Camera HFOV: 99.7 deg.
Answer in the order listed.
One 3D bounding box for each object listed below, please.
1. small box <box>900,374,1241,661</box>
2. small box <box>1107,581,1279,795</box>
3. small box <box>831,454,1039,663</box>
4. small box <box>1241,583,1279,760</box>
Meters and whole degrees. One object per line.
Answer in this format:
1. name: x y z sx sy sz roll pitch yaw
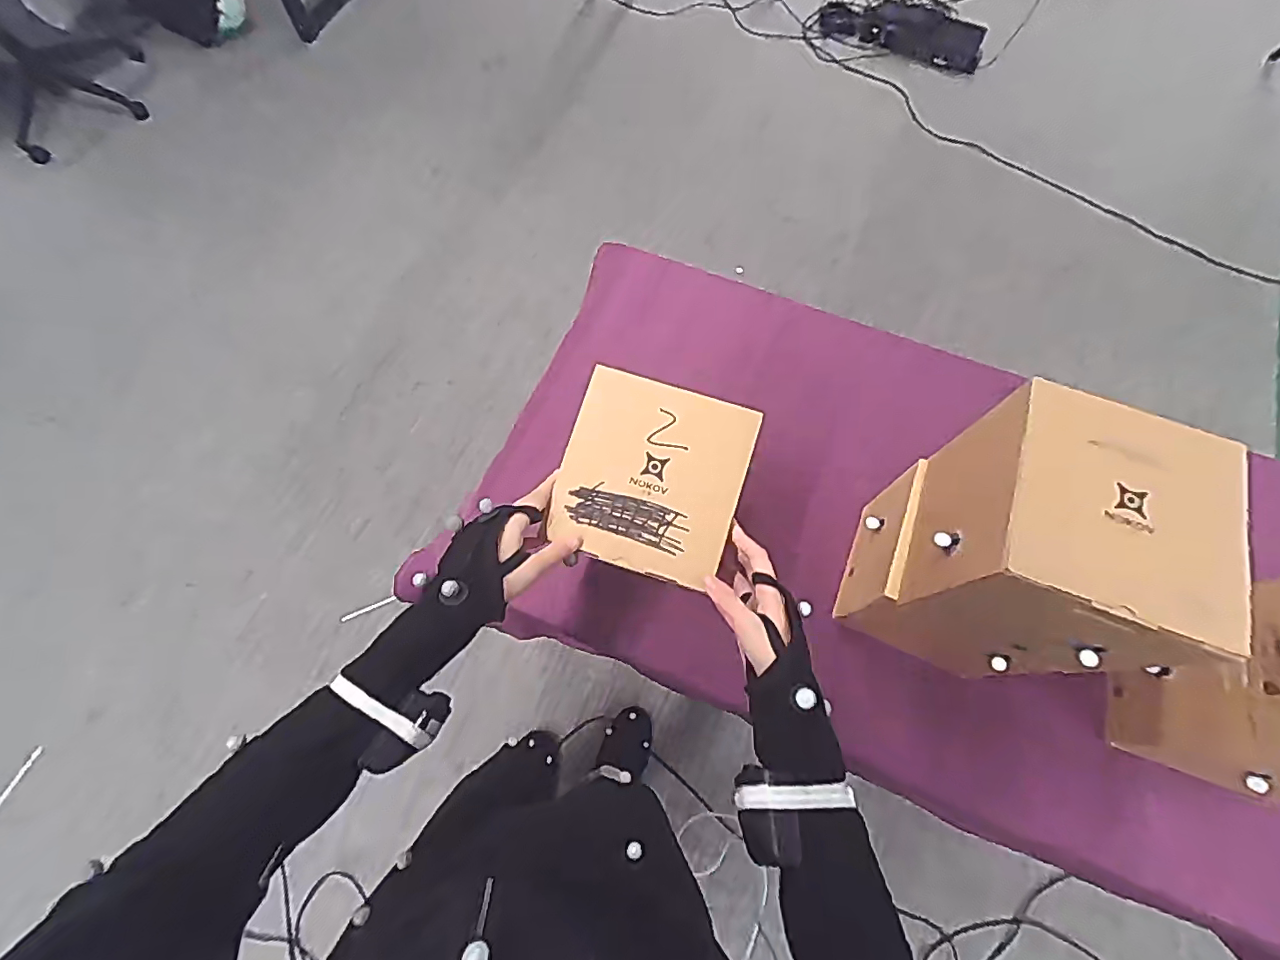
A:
1. small box: 0.356 0.045 0.477 0.168 0.176 0.179 21 68 7
2. small box: 0.647 0.227 0.574 0.179 0.176 0.168 19 69 8
3. small box: 0.348 0.102 0.627 0.179 0.176 0.168 24 69 7
4. small box: 0.645 0.166 0.420 0.179 0.176 0.168 20 68 9
